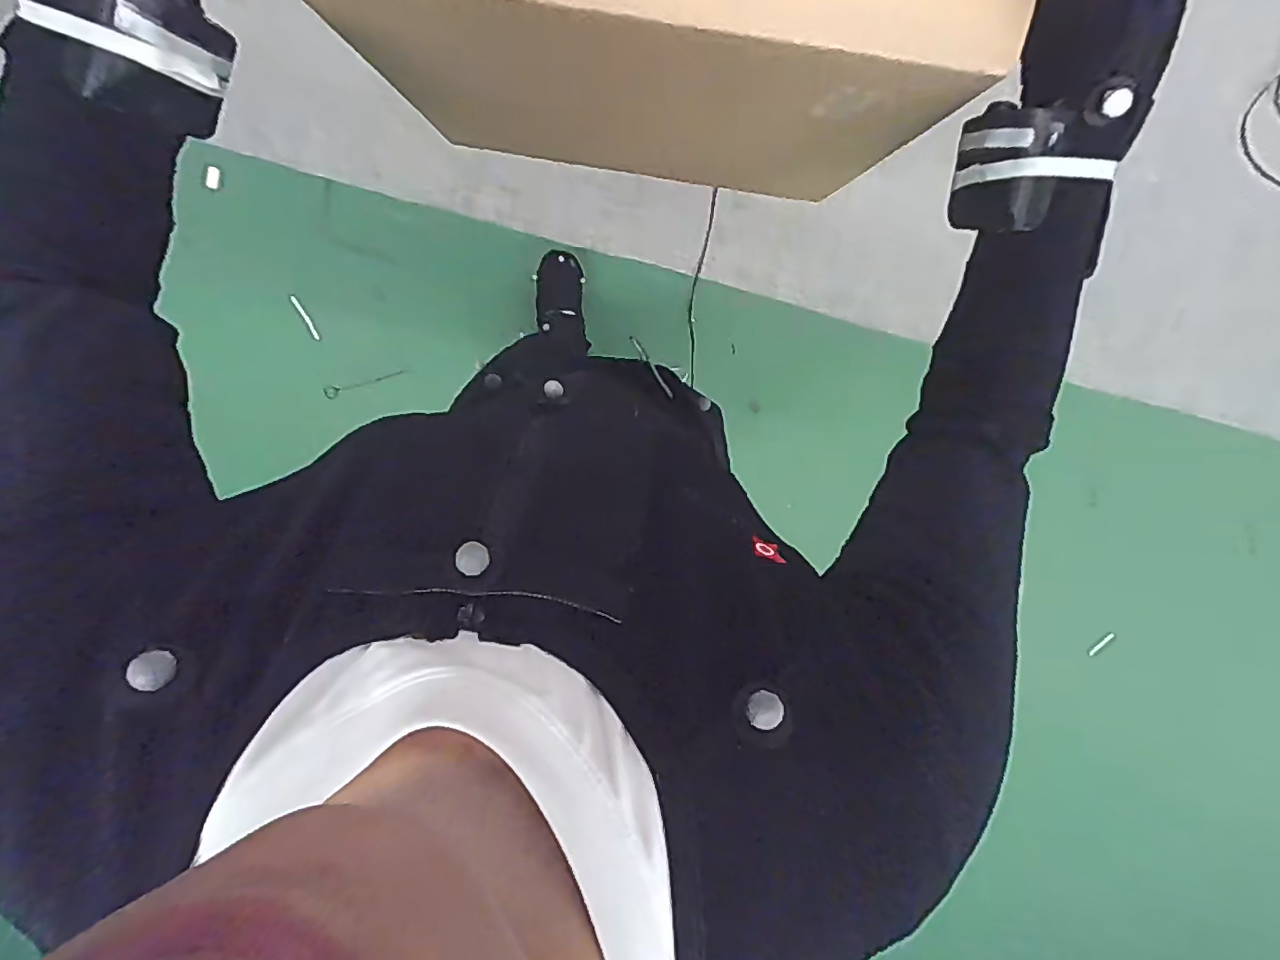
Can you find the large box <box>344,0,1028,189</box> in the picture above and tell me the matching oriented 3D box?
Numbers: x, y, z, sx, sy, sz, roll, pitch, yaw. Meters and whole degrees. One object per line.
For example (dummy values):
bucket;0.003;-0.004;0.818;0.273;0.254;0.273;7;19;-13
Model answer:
large box;0.026;-0.441;0.396;0.408;0.320;0.320;7;106;-4
